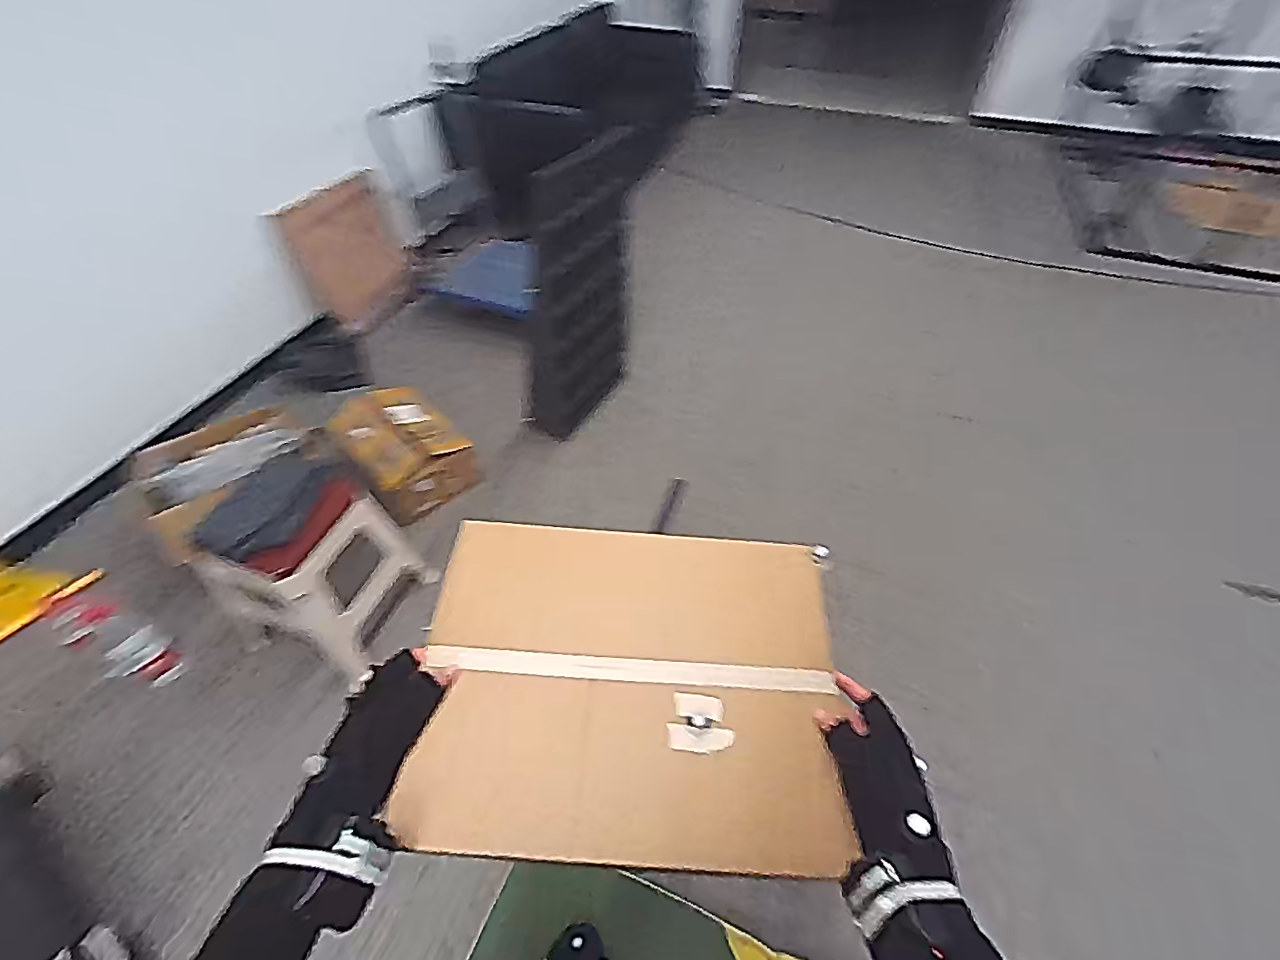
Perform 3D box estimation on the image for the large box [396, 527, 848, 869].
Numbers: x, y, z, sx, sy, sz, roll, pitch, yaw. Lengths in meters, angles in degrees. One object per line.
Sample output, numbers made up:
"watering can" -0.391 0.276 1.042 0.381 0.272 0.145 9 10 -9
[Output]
"large box" -0.016 0.280 0.672 0.408 0.320 0.320 5 55 0
